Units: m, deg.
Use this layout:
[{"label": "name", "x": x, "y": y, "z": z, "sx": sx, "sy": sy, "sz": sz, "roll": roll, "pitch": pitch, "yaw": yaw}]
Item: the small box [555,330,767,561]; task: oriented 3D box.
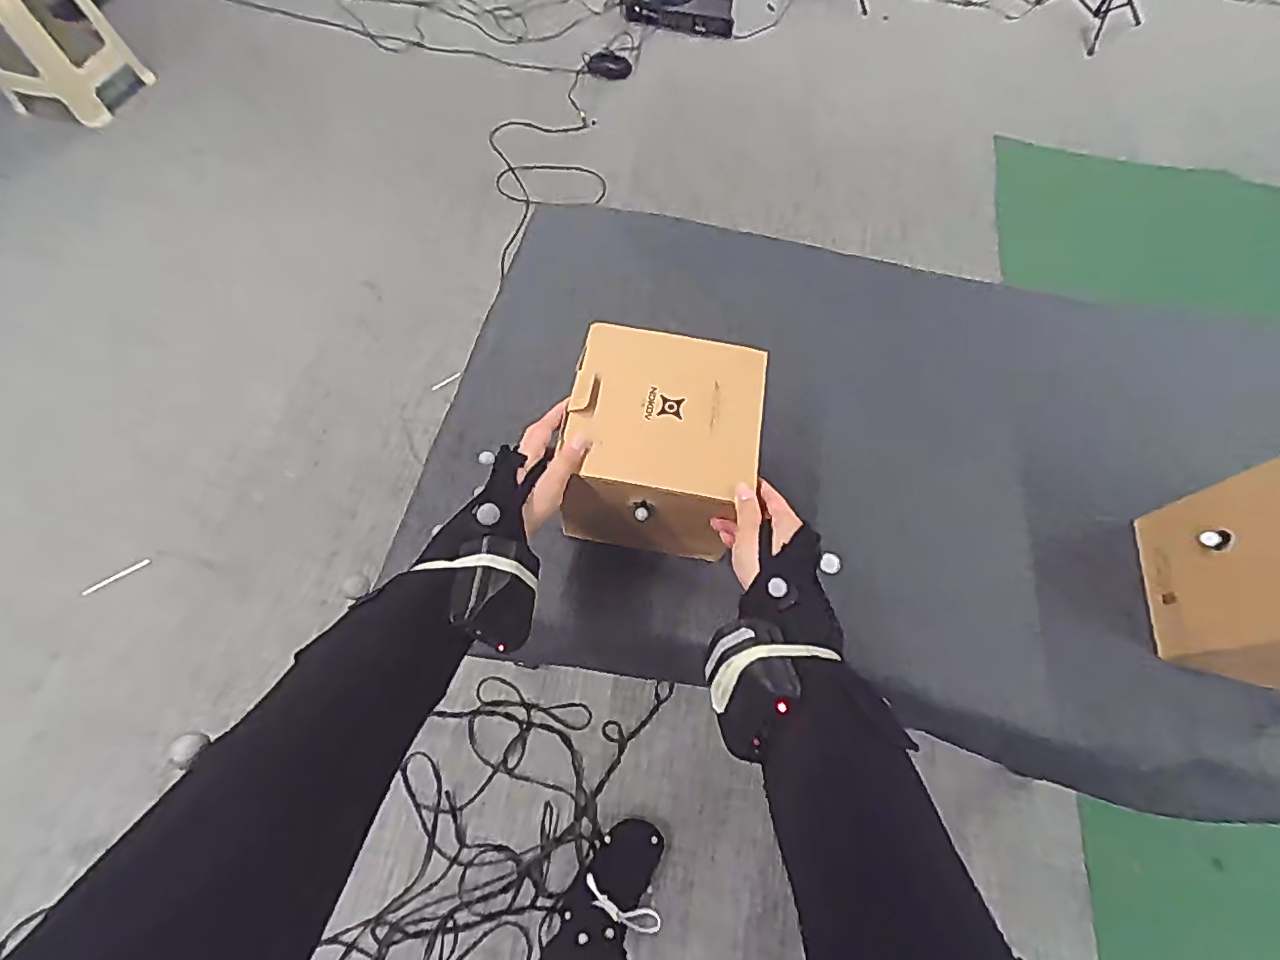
[{"label": "small box", "x": 0.021, "y": -0.026, "z": 0.560, "sx": 0.179, "sy": 0.176, "sz": 0.168, "roll": 10, "pitch": 64, "yaw": 0}]

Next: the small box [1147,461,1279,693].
[{"label": "small box", "x": 0.649, "y": 0.106, "z": 0.524, "sx": 0.179, "sy": 0.176, "sz": 0.168, "roll": 13, "pitch": 63, "yaw": 4}]
